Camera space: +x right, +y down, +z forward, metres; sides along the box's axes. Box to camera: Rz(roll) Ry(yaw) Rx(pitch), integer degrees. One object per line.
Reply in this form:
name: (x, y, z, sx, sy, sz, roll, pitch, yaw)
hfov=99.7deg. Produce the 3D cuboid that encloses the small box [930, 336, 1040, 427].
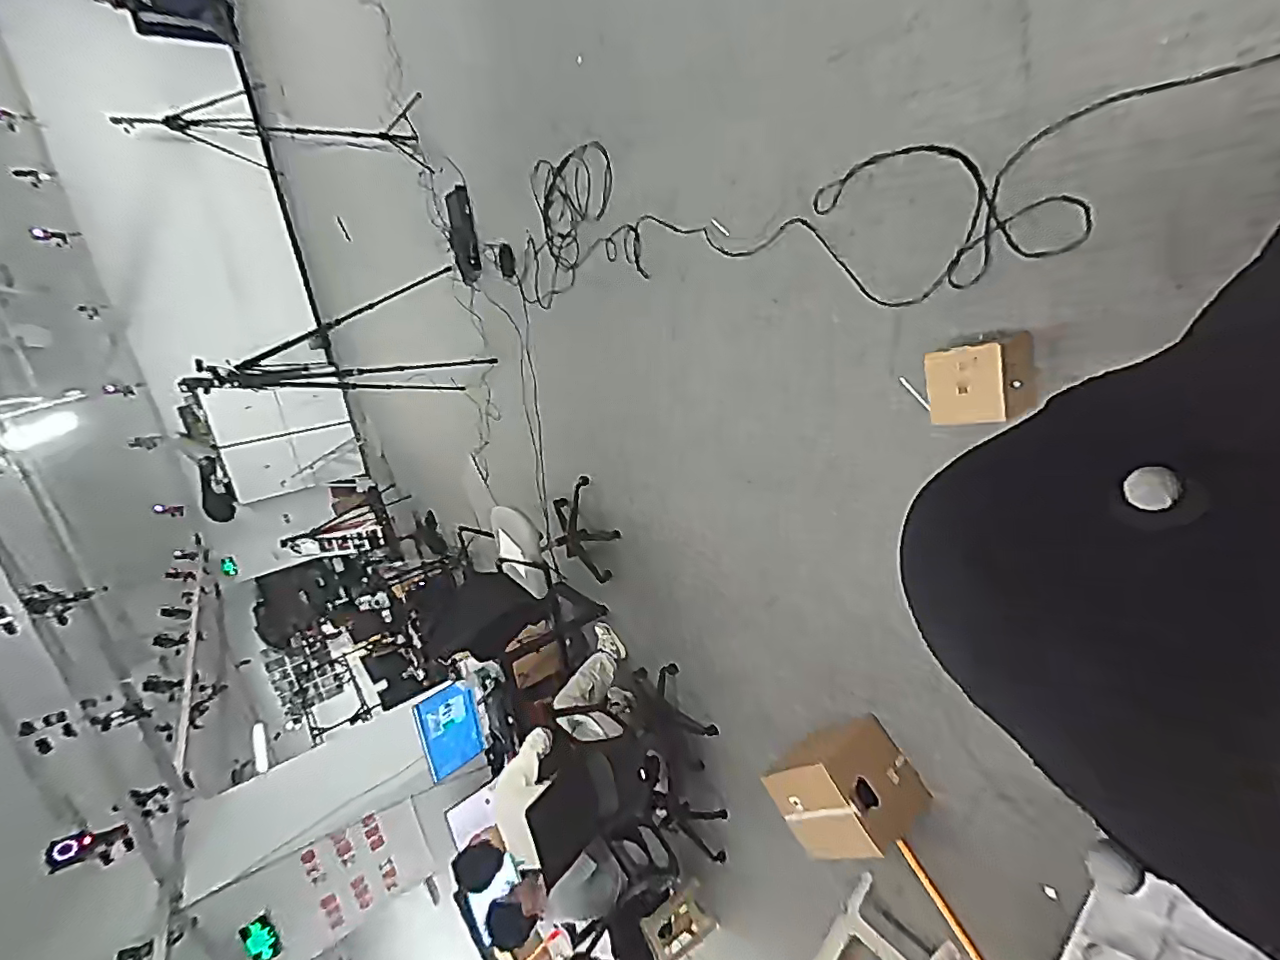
small box: (0.819, -0.231, 1.278, 0.168, 0.176, 0.179, 4, 109, 55)
